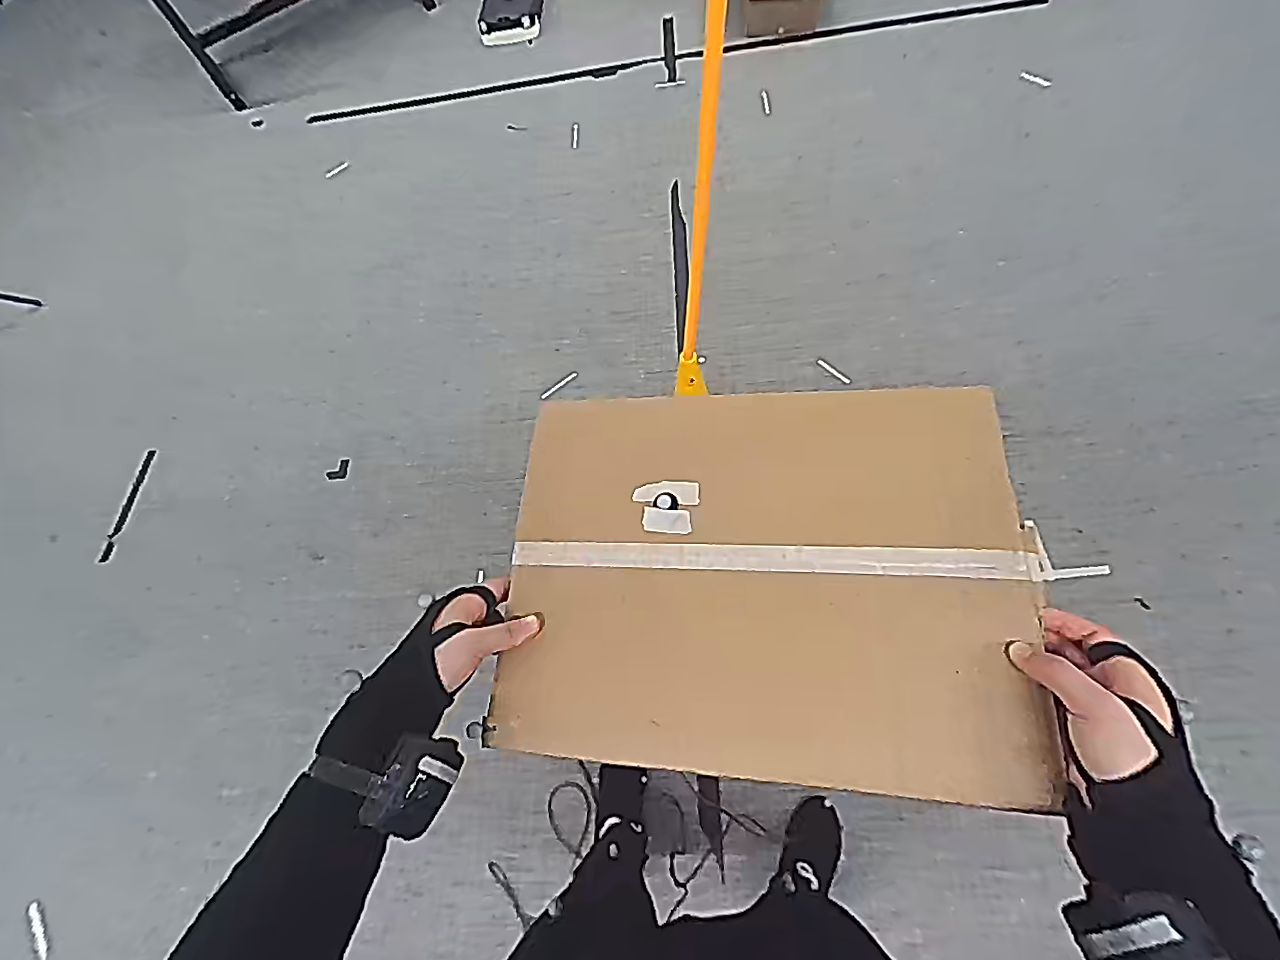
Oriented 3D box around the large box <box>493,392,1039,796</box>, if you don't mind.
[{"bbox_3d":[0.114,0.129,0.587,0.408,0.320,0.320,-2,66,14],"label":"large box"}]
